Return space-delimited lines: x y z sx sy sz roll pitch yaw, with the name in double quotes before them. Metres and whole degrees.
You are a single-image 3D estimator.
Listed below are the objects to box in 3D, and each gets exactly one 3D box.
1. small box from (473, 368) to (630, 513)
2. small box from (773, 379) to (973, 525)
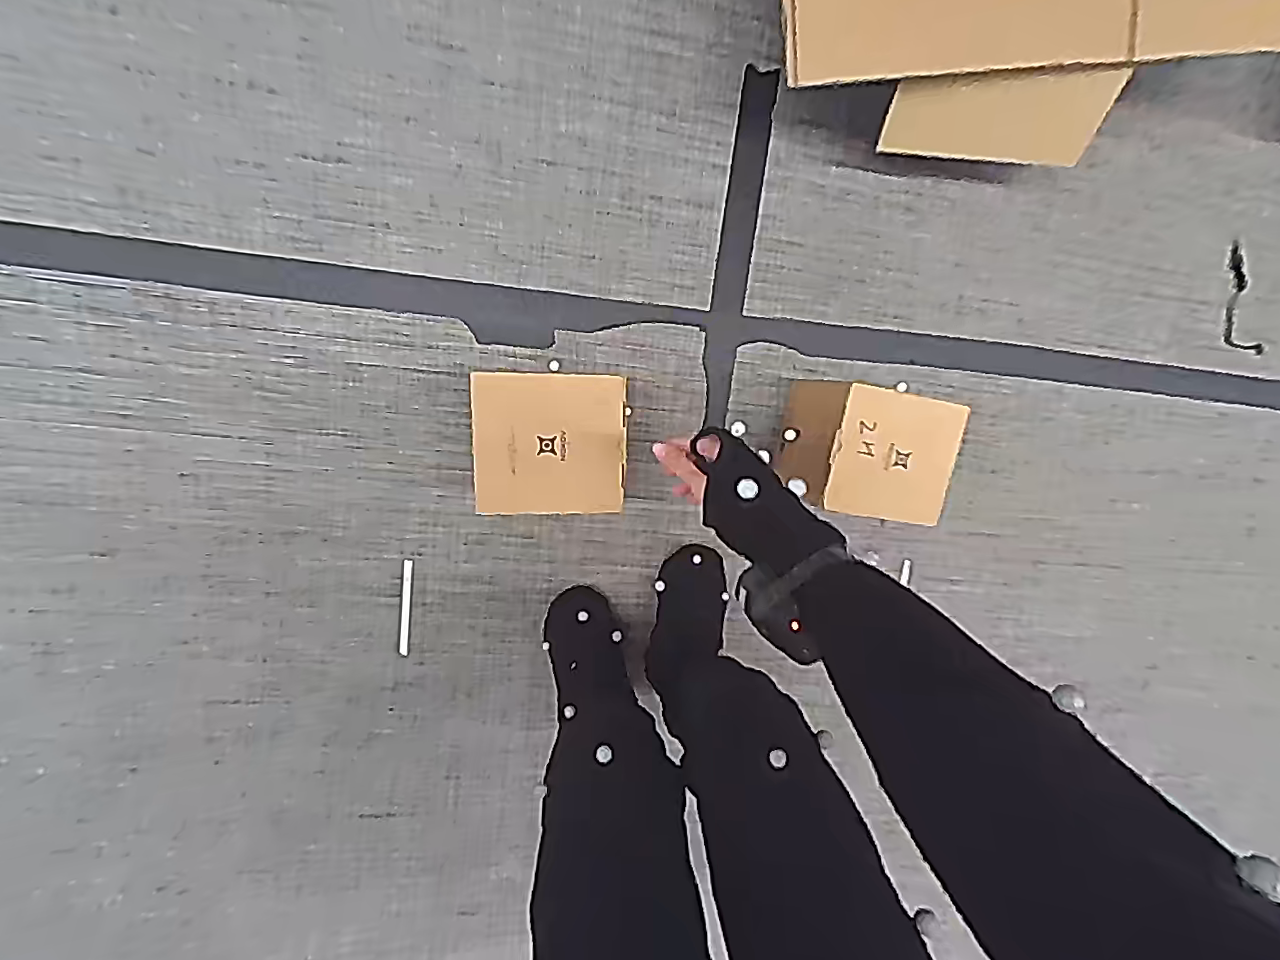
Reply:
"small box" -0.112 -0.058 0.695 0.179 0.176 0.168 0 101 -8
"small box" 0.315 -0.048 0.765 0.179 0.176 0.168 9 100 -12
